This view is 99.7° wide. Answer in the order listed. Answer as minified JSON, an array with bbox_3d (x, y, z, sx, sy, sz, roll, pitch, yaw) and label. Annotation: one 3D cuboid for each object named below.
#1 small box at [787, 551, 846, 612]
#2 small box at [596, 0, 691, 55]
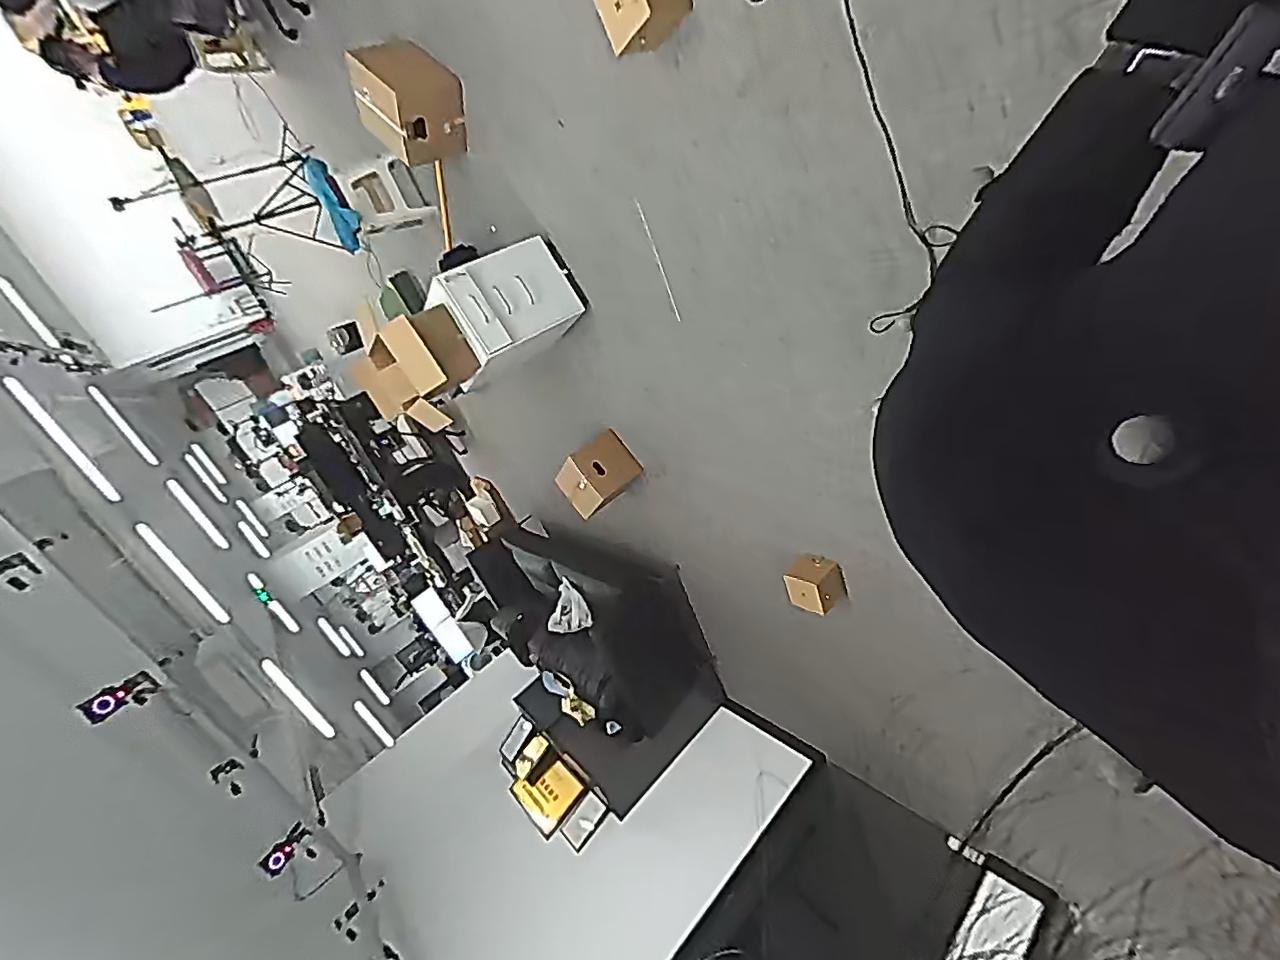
[{"bbox_3d":[0.776,0.438,2.359,0.168,0.176,0.179,11,131,51],"label":"small box"},{"bbox_3d":[0.009,-1.322,1.487,0.179,0.176,0.168,-1,121,56],"label":"small box"}]
